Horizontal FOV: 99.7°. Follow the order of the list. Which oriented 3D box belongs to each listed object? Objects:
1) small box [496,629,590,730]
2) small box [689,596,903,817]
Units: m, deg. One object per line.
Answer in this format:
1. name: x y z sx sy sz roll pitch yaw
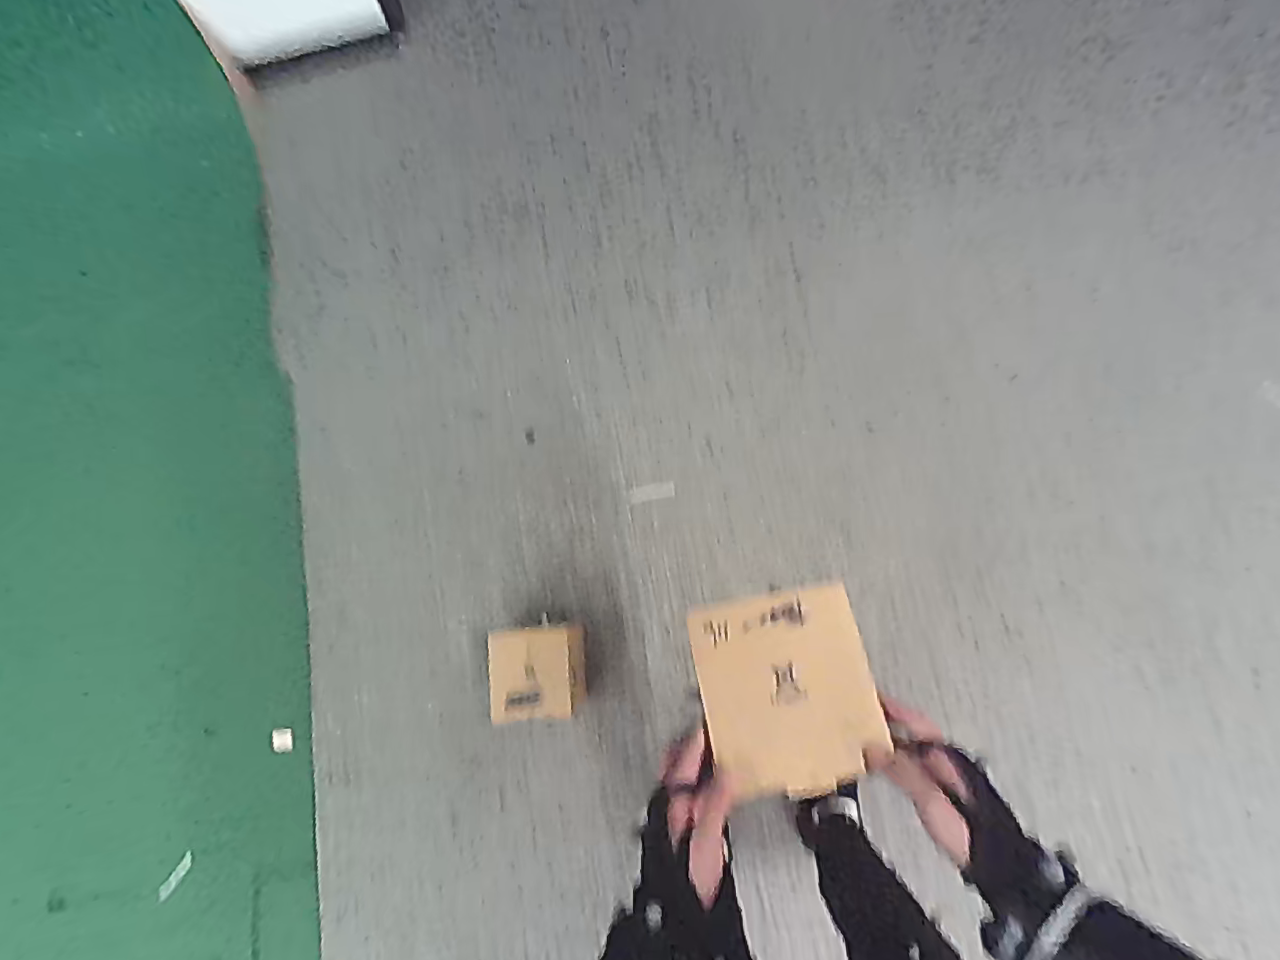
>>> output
1. small box: -0.205 0.428 1.179 0.168 0.176 0.179 -6 79 3
2. small box: 0.150 0.233 0.585 0.168 0.176 0.179 -11 70 1
